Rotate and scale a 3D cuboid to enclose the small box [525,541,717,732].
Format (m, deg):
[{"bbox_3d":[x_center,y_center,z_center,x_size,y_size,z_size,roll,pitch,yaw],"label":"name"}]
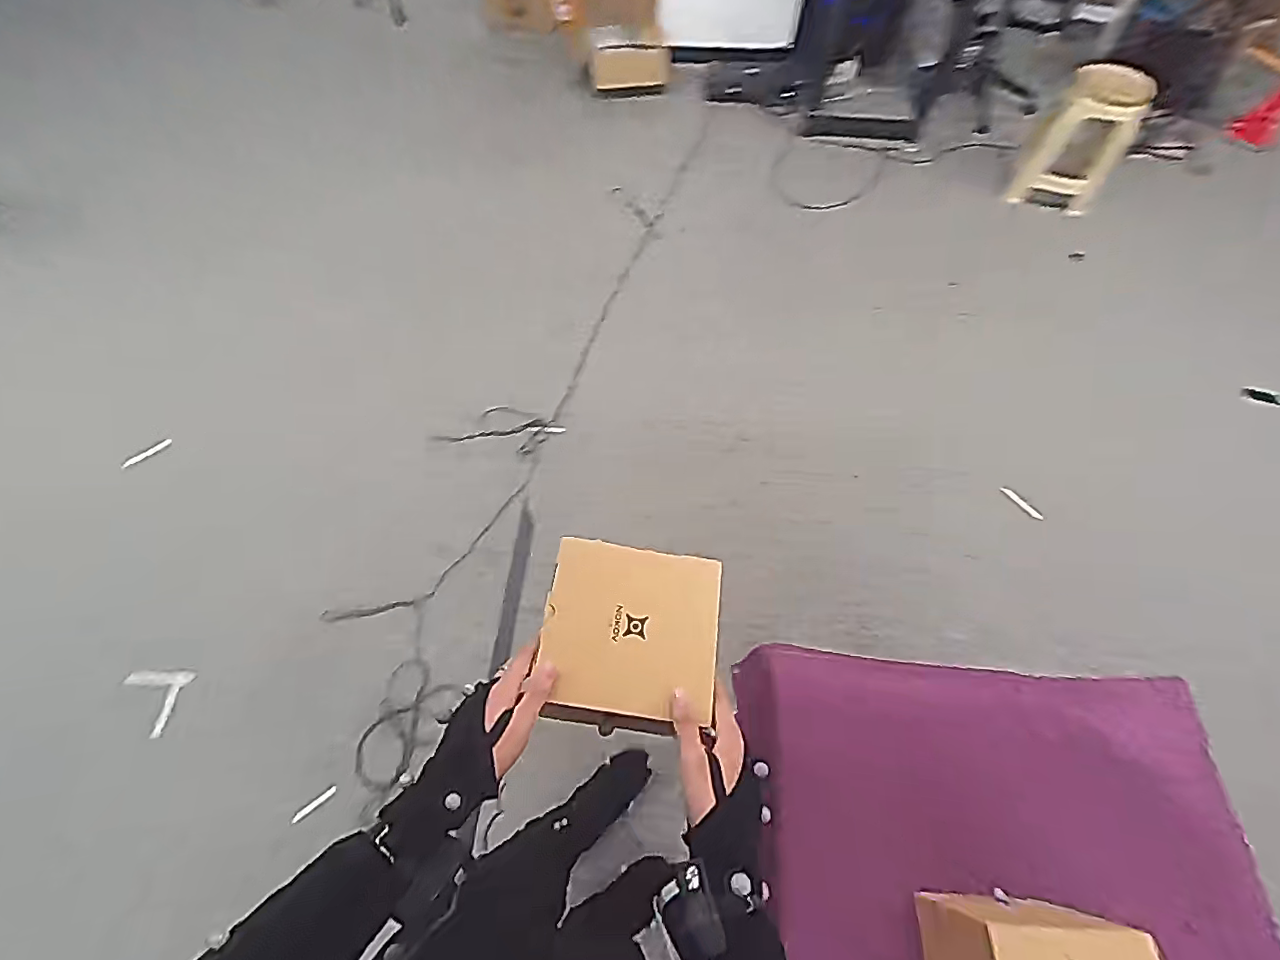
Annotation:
[{"bbox_3d":[-0.019,0.184,0.610,0.179,0.176,0.168,8,62,-1],"label":"small box"}]
